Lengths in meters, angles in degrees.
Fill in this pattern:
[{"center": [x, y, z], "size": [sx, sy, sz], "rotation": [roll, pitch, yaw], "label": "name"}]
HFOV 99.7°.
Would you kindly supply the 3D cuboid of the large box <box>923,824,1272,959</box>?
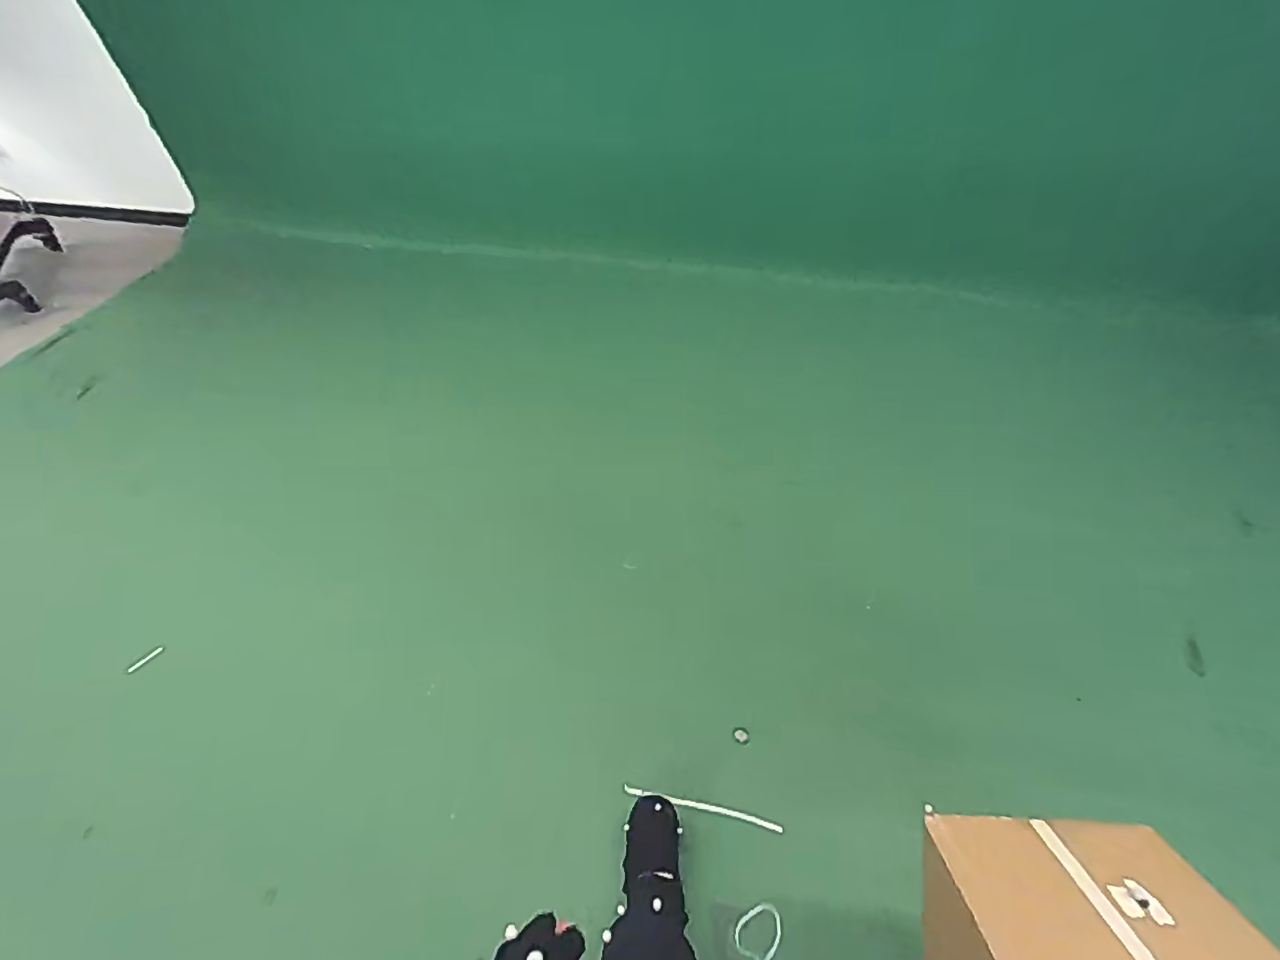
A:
[{"center": [0.568, 0.696, 0.629], "size": [0.320, 0.320, 0.408], "rotation": [-1, 7, 8], "label": "large box"}]
